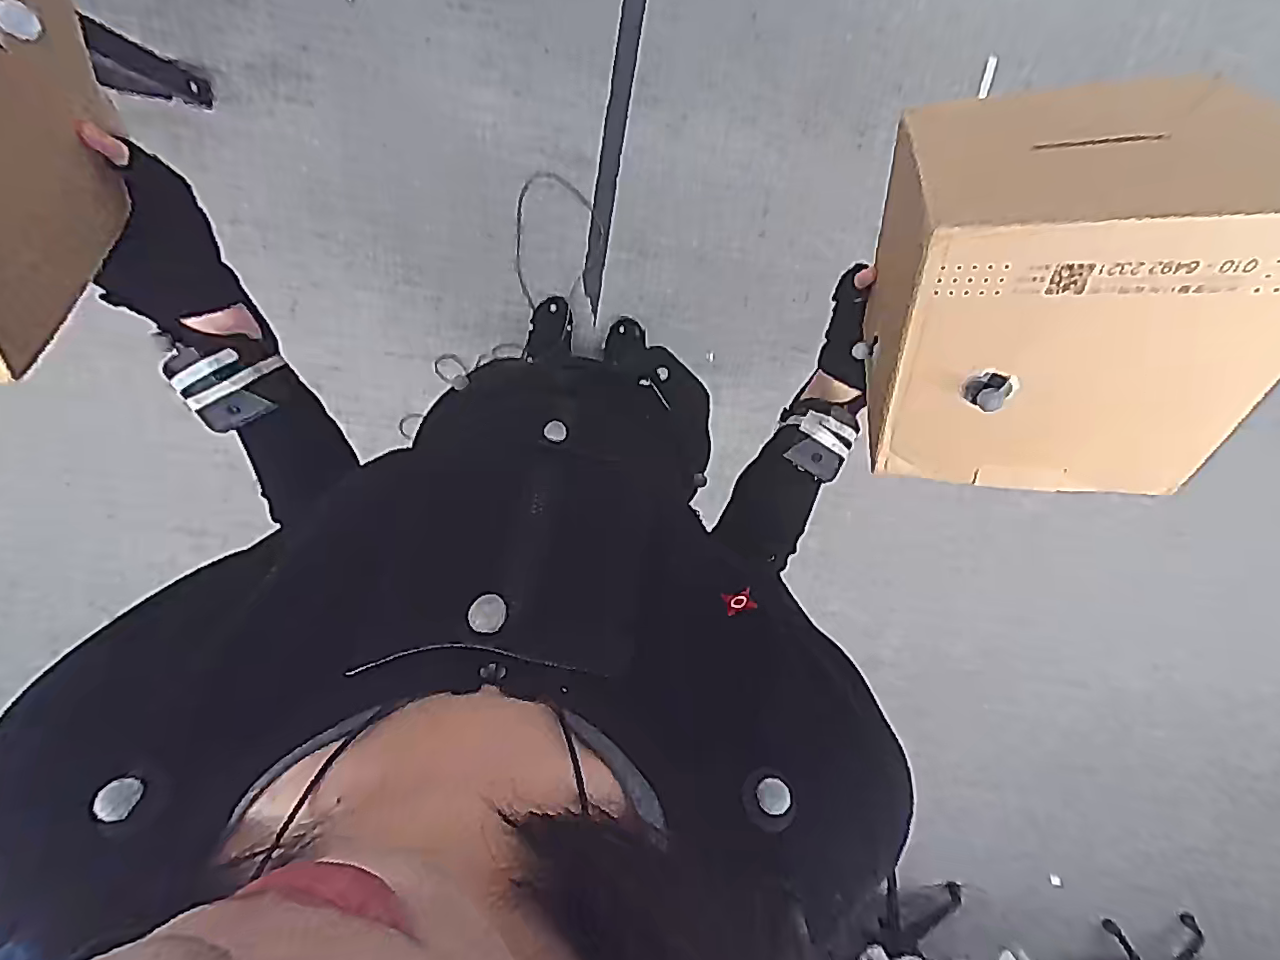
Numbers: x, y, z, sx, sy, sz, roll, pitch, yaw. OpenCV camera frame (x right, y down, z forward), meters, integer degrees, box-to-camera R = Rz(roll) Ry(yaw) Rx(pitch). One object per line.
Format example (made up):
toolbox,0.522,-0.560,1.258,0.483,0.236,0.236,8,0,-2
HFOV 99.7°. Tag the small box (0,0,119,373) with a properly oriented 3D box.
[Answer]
small box,-0.348,-0.164,0.199,0.168,0.179,0.176,3,138,-26

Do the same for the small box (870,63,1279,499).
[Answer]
small box,0.239,-0.113,0.317,0.168,0.179,0.176,6,140,14
